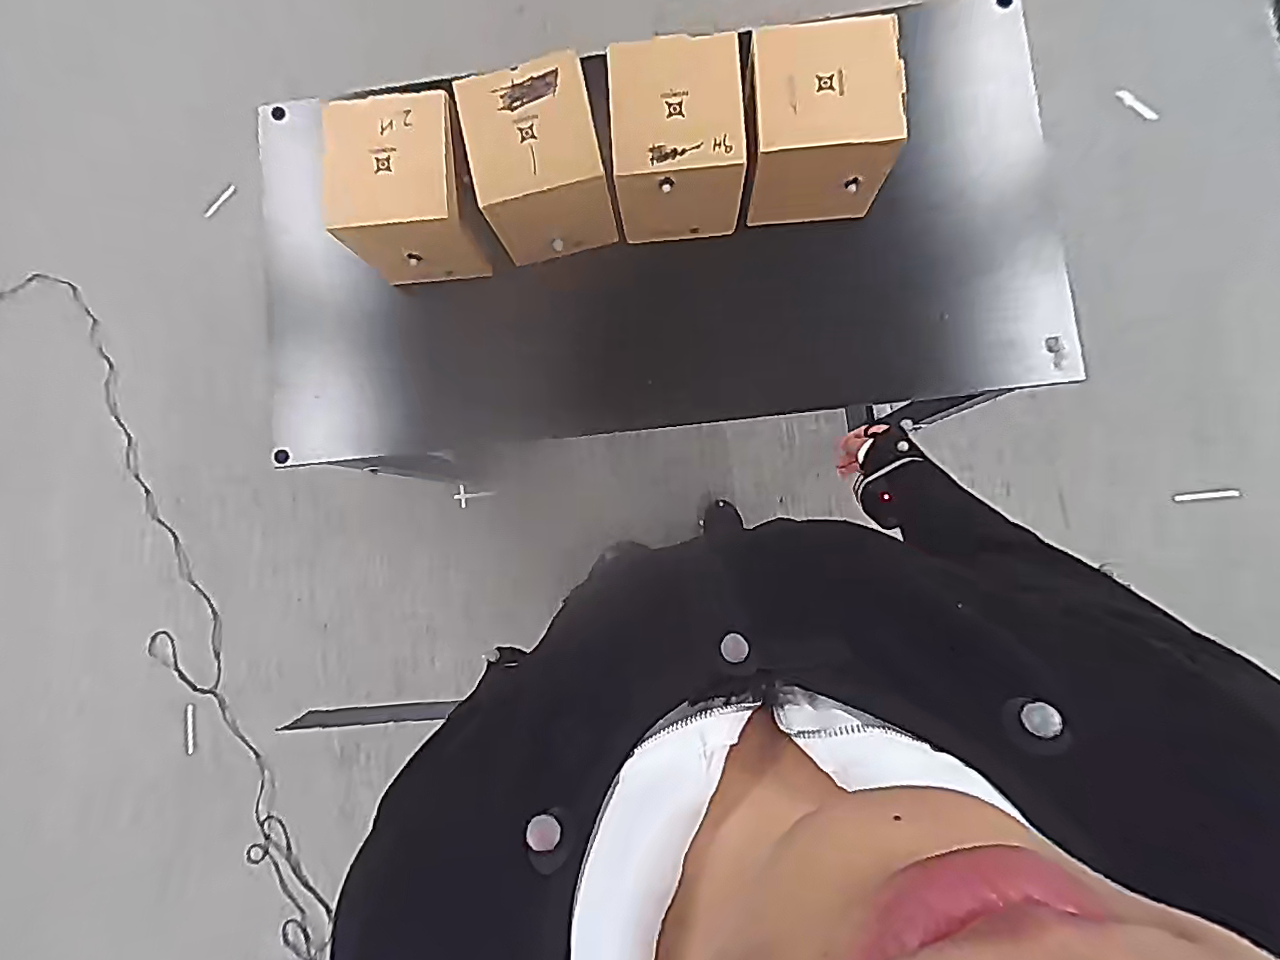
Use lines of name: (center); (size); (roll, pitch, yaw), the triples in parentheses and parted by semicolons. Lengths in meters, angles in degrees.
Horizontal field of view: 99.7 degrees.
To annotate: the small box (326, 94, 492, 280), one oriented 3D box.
small box: (-0.319, -0.402, 0.775); (0.168, 0.176, 0.179); (-3, 85, 4)
